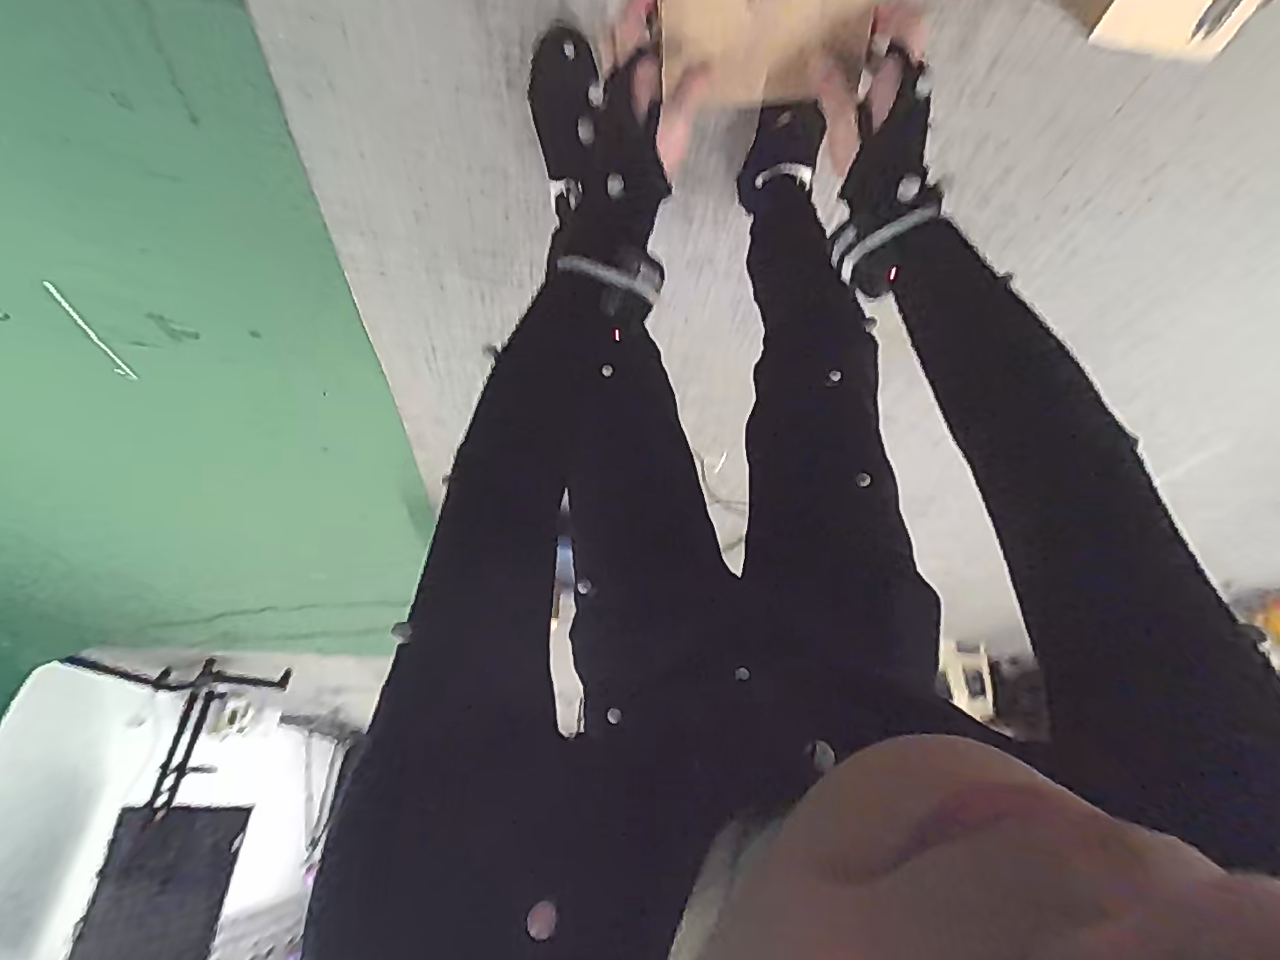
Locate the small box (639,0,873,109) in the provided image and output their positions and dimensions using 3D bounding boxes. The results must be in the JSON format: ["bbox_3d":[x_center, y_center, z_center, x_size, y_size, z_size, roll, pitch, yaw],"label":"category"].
[{"bbox_3d":[0.088,-0.436,0.454,0.179,0.176,0.168,-5,140,-1],"label":"small box"}]

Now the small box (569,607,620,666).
[{"bbox_3d":[-0.164,0.568,1.959,0.168,0.176,0.179,6,148,-8],"label":"small box"}]

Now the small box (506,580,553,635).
[{"bbox_3d":[-0.447,0.516,2.187,0.168,0.176,0.179,7,147,-12],"label":"small box"}]

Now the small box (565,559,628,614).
[{"bbox_3d":[-0.161,0.409,2.030,0.179,0.176,0.168,24,140,-34],"label":"small box"}]
